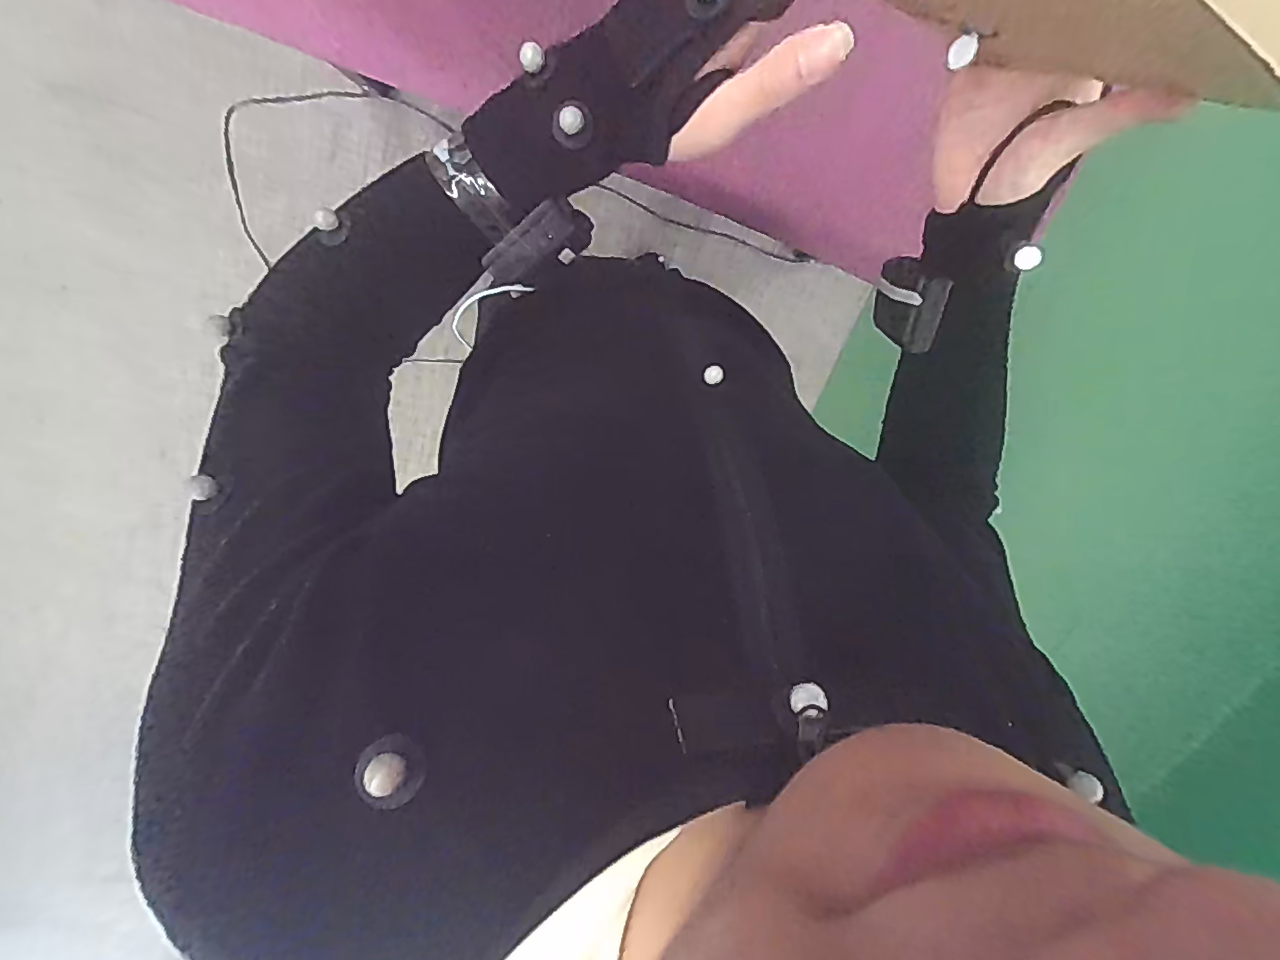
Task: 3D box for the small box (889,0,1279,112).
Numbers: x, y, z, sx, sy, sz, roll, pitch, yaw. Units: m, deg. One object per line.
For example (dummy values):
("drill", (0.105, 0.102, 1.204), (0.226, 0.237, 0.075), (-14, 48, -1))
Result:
("small box", (0.213, -0.272, 0.207), (0.179, 0.176, 0.168), (-10, 135, -32))
